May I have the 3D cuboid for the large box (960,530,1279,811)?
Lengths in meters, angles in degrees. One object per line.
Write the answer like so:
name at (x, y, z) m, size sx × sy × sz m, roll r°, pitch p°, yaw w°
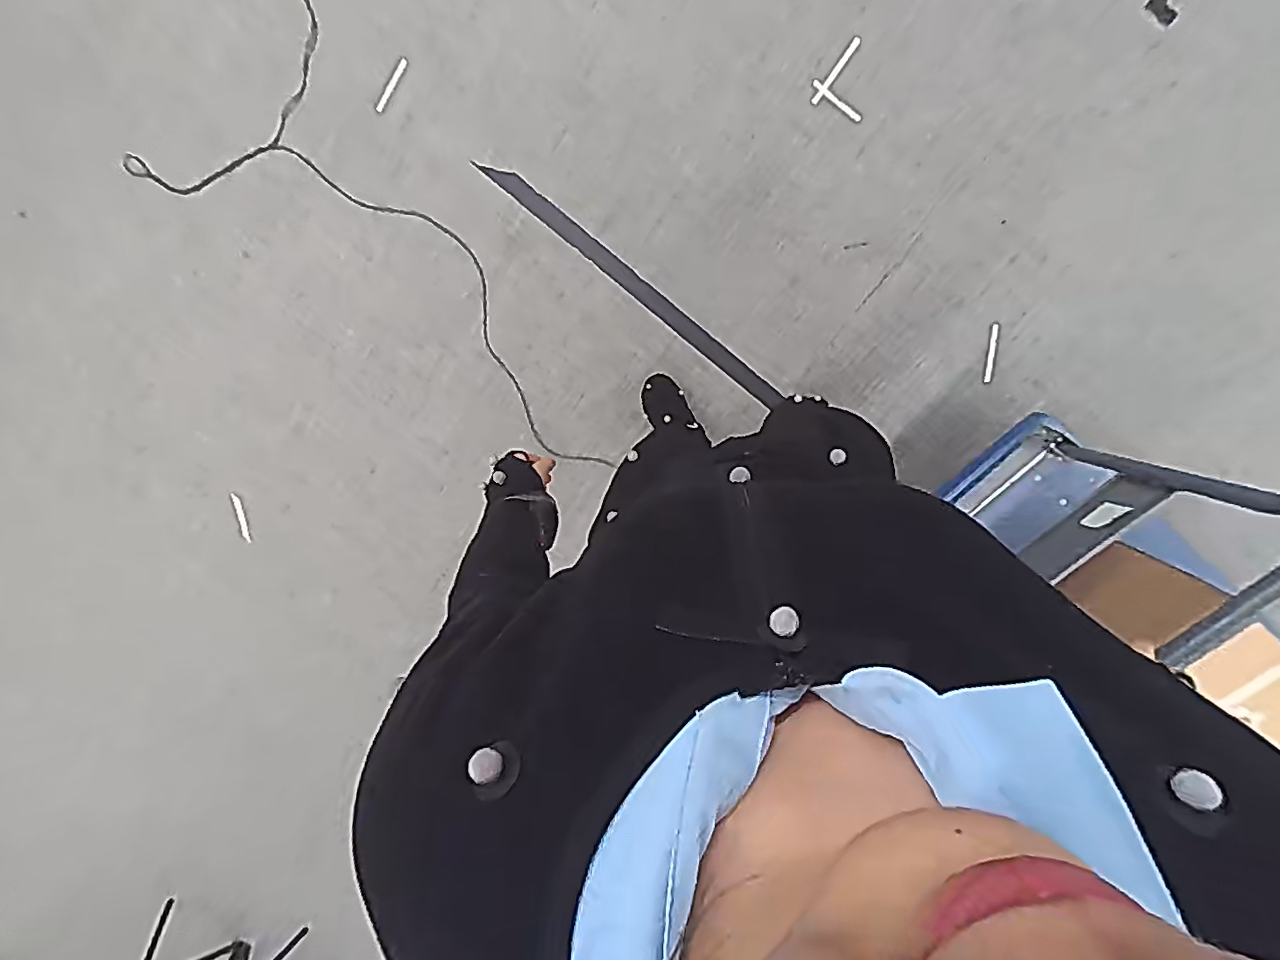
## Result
large box at (1.007, 0.382, 1.156) m, size 0.320 × 0.320 × 0.408 m, roll 42°, pitch 104°, yaw -4°
